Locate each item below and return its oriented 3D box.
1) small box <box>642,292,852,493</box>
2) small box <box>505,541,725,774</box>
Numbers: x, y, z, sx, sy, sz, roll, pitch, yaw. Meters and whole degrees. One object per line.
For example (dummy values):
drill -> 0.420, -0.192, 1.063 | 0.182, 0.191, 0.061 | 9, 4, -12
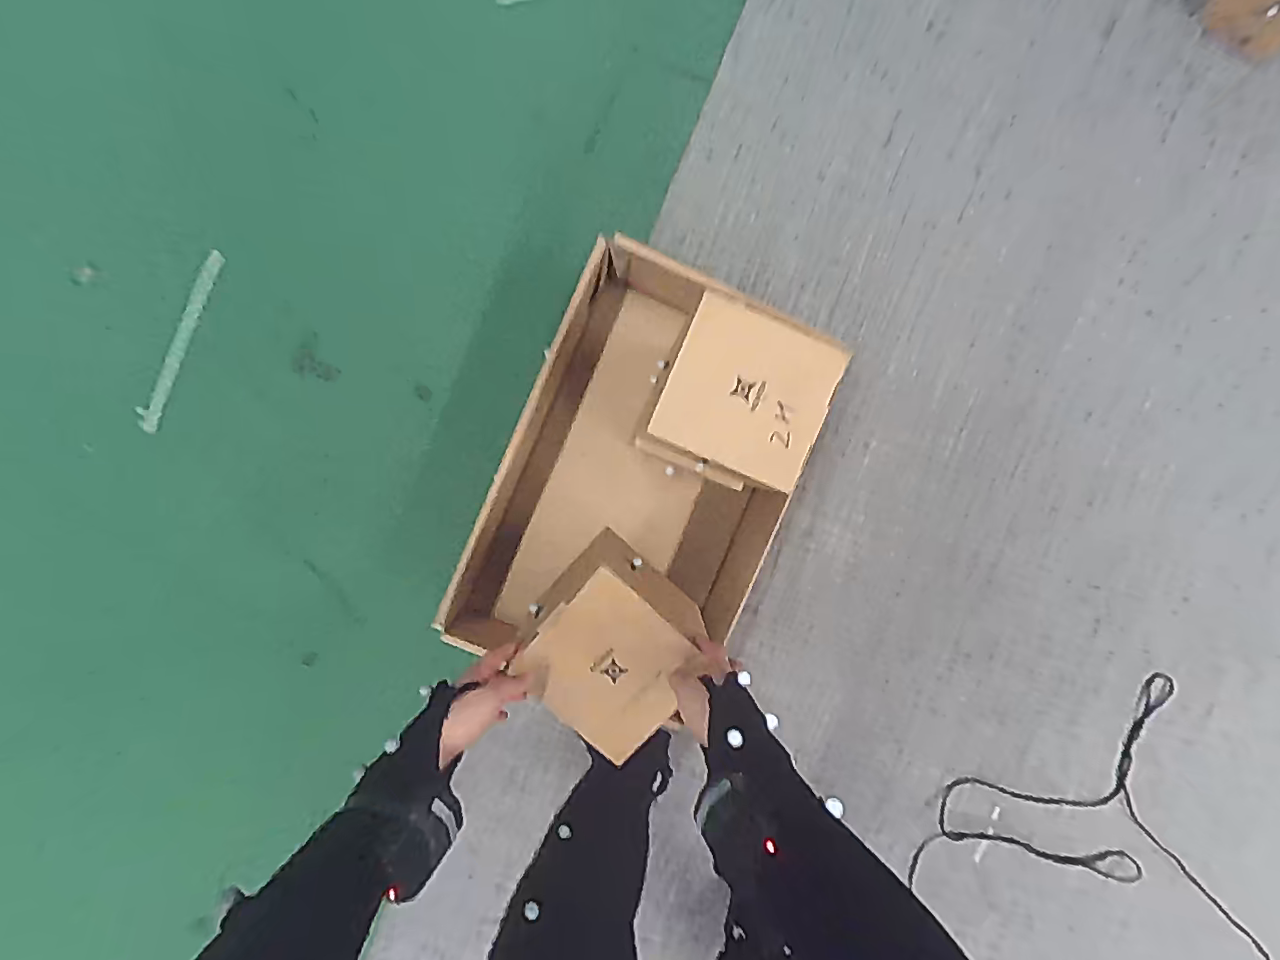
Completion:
small box -> 0.112, -0.094, 0.652 | 0.179, 0.176, 0.168 | 23, 91, -5
small box -> -0.030, 0.192, 0.645 | 0.179, 0.176, 0.168 | 42, 96, -9
